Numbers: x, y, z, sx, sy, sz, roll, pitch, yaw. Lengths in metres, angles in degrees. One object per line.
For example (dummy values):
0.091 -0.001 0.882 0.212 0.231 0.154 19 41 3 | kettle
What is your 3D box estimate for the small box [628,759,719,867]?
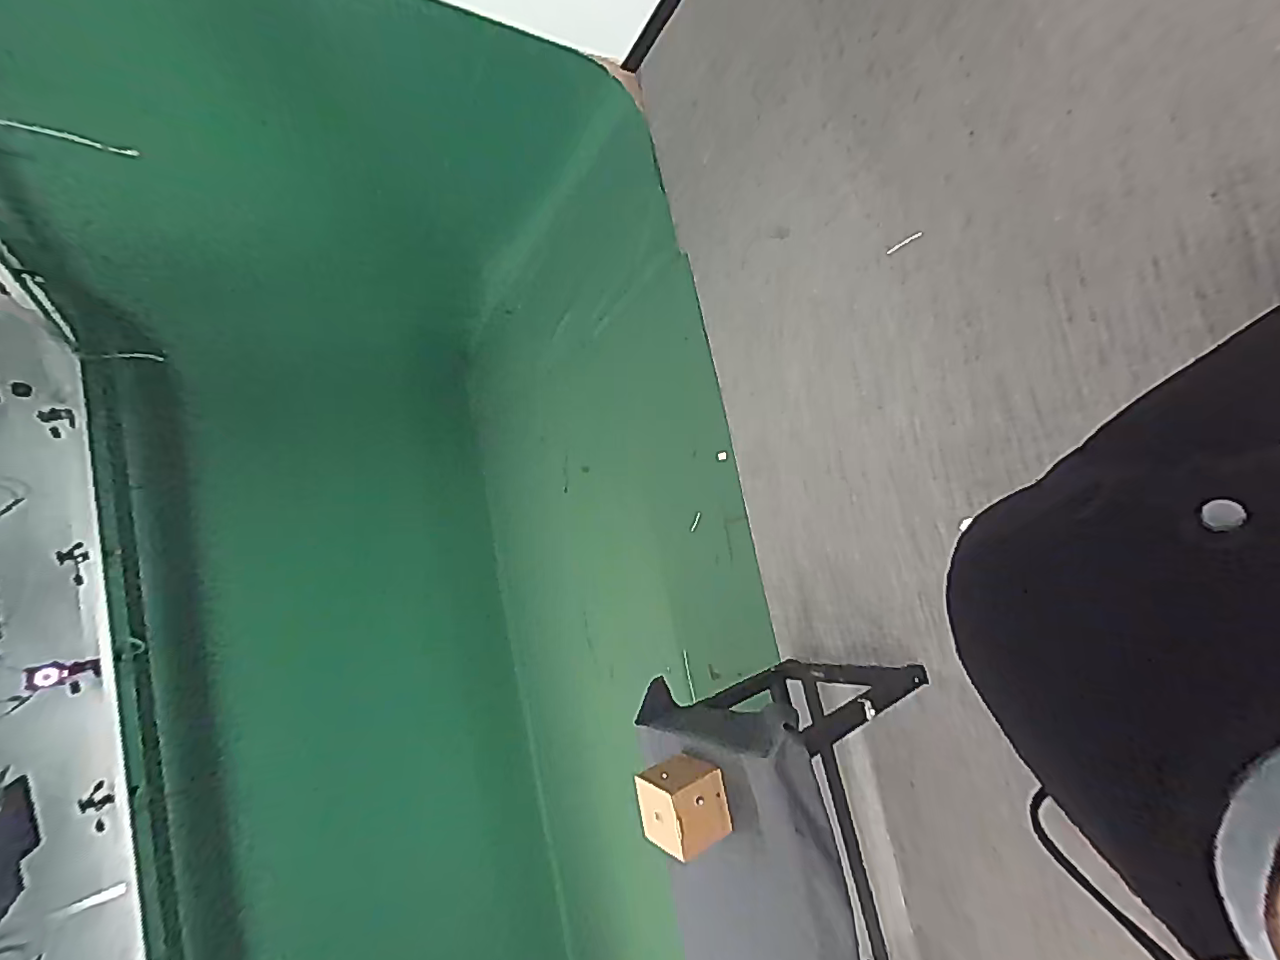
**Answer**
0.094 0.867 1.431 0.179 0.176 0.168 -18 80 56 | small box
